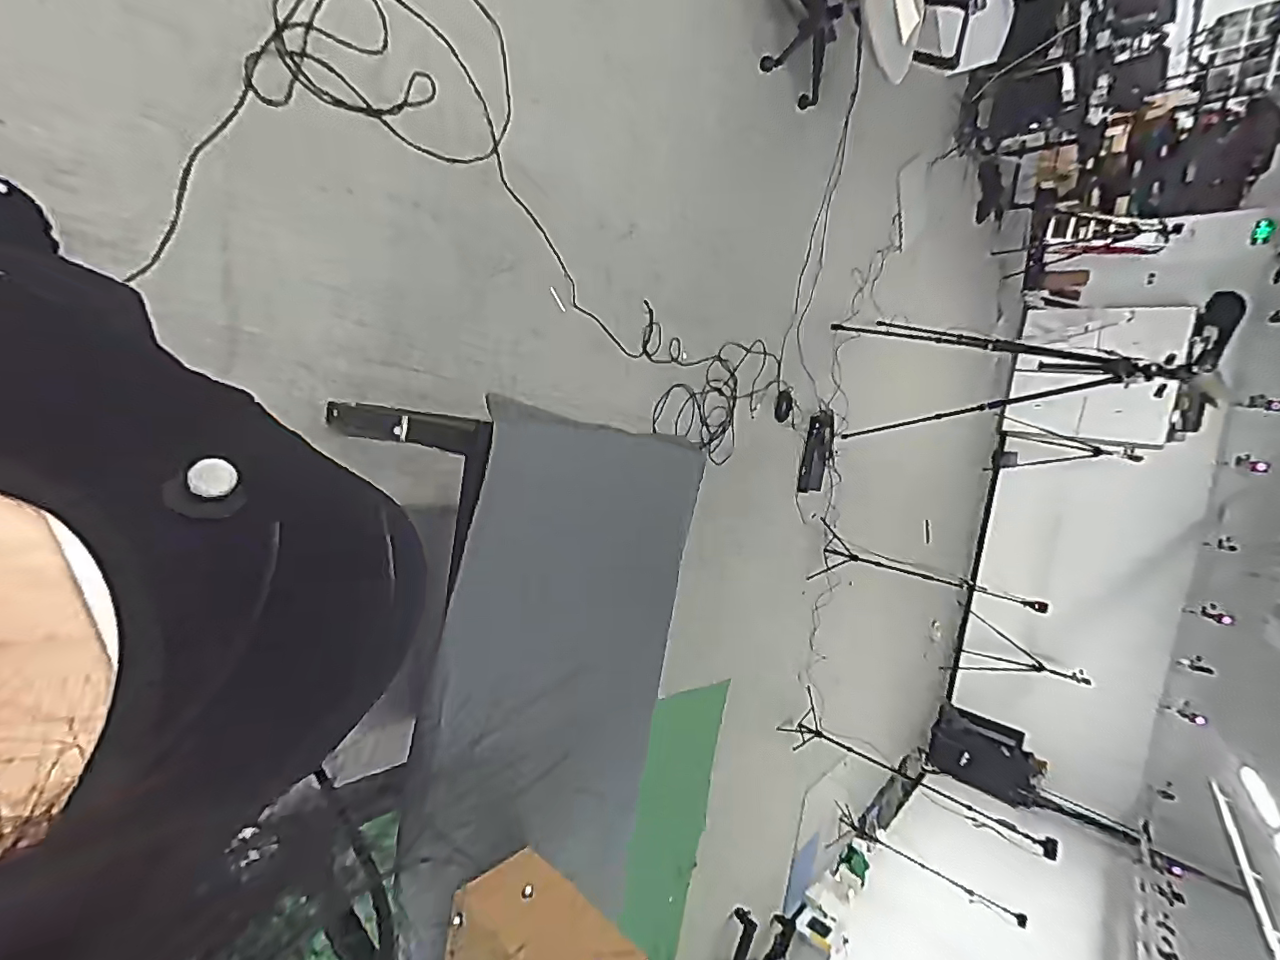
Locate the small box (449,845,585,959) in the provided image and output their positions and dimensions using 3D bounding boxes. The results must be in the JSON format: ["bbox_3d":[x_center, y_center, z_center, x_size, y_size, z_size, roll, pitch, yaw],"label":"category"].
[{"bbox_3d":[-0.231,0.836,1.005,0.179,0.176,0.168,4,96,-52],"label":"small box"}]

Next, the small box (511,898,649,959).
[{"bbox_3d":[-0.109,0.860,0.901,0.179,0.176,0.168,-2,99,-50],"label":"small box"}]
